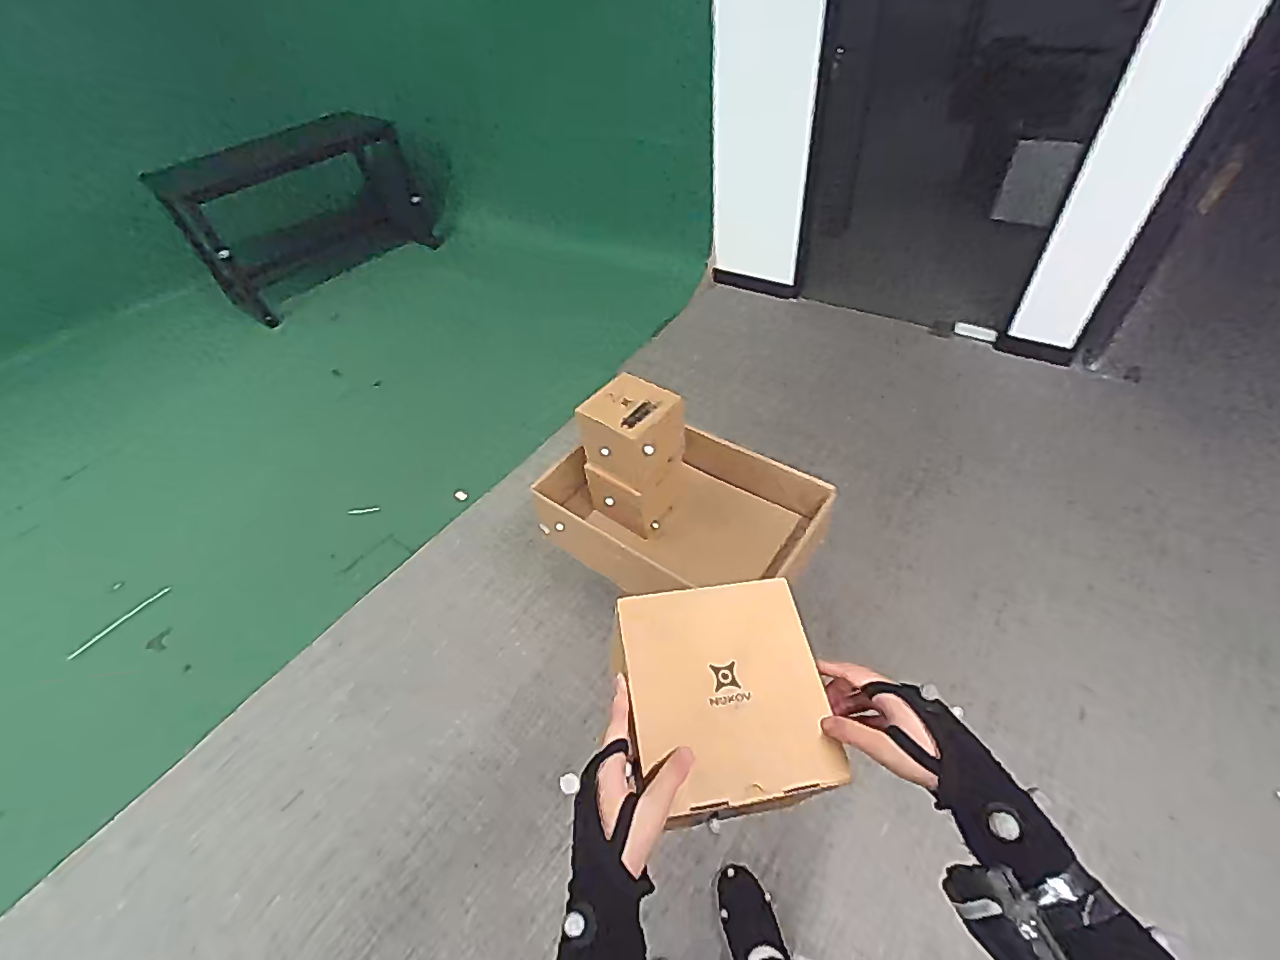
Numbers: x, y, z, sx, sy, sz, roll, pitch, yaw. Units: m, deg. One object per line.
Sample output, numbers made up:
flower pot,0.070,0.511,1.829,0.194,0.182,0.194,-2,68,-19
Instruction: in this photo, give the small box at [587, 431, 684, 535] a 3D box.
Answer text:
small box,-0.003,0.013,1.352,0.179,0.176,0.168,28,57,29
